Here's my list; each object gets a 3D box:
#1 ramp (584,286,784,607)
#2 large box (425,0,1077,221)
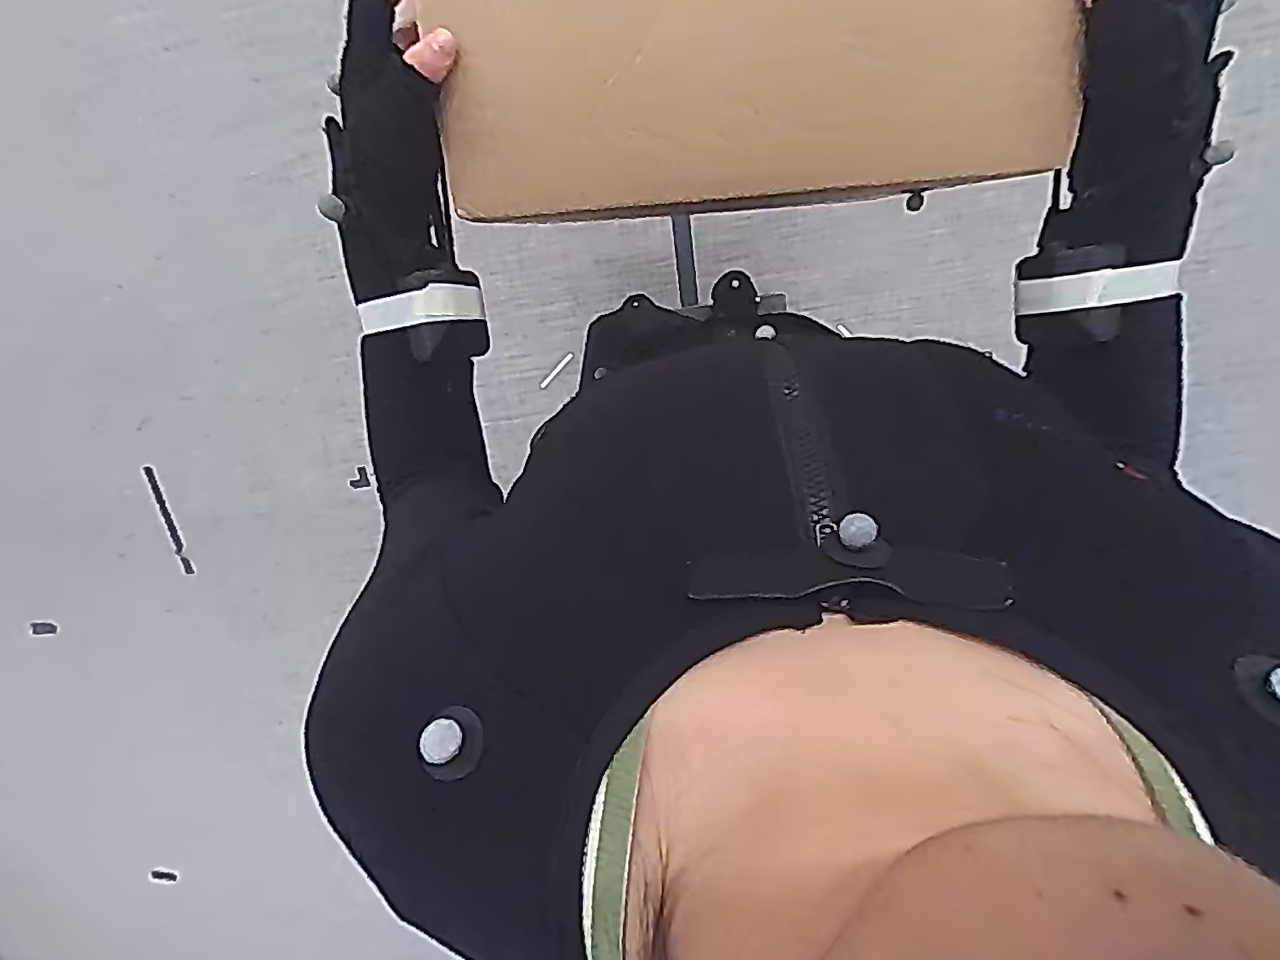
[{"bbox_3d":[0.173,-0.026,1.605,0.509,0.206,0.991,-9,109,5],"label":"ramp"},{"bbox_3d":[0.068,-0.399,0.443,0.408,0.320,0.320,-3,114,3],"label":"large box"}]
